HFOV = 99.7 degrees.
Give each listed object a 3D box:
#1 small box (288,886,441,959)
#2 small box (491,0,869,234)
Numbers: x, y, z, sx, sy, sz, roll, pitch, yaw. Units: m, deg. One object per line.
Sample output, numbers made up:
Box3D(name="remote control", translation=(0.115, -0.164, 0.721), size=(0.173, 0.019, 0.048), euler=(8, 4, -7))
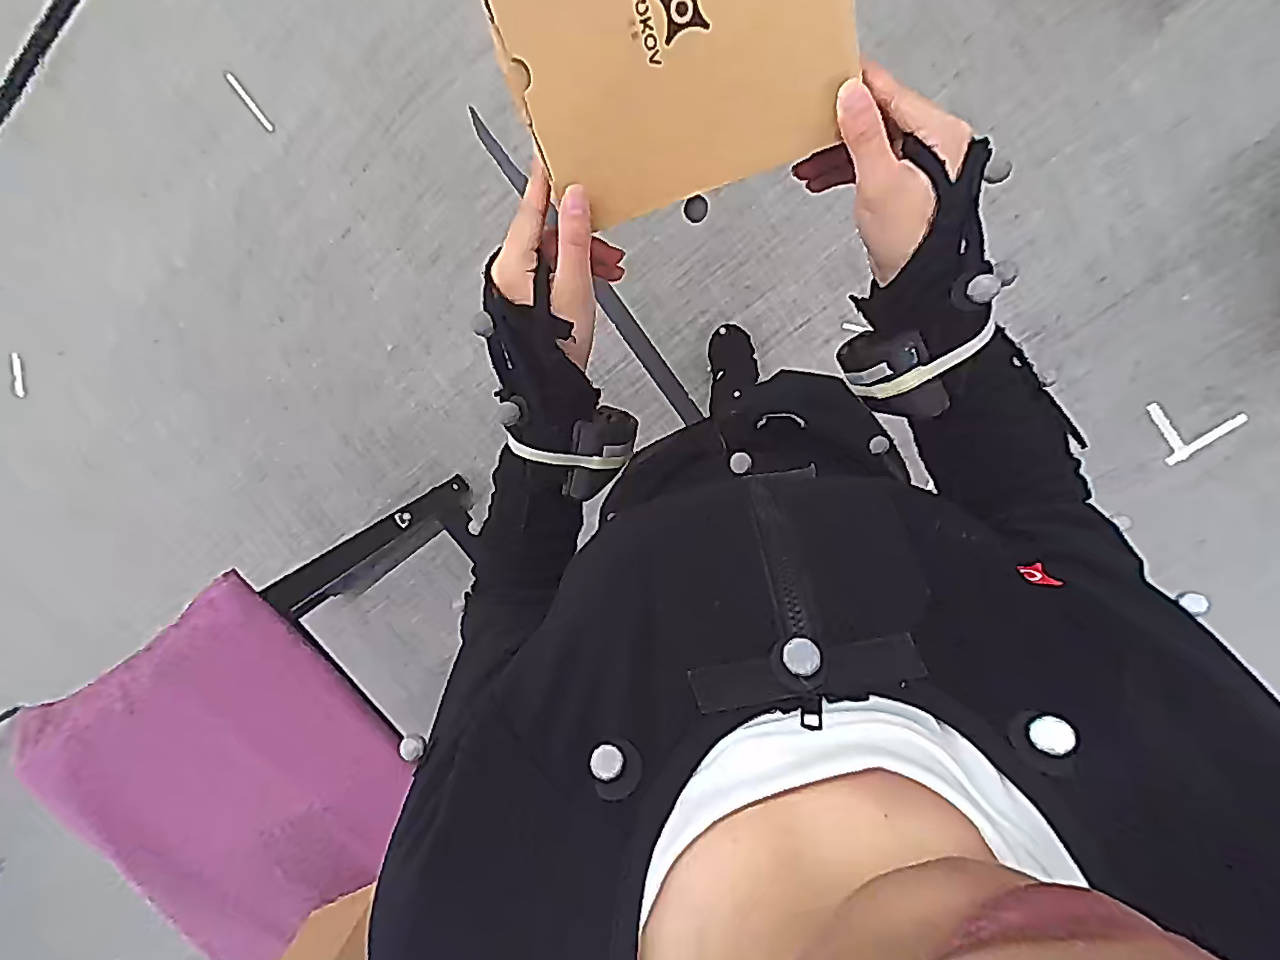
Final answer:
Box3D(name="small box", translation=(-0.446, 0.781, 0.829), size=(0.179, 0.176, 0.168), euler=(-33, 99, 14))
Box3D(name="small box", translation=(0.017, -0.274, 0.334), size=(0.179, 0.176, 0.168), euler=(-16, 119, 9))
